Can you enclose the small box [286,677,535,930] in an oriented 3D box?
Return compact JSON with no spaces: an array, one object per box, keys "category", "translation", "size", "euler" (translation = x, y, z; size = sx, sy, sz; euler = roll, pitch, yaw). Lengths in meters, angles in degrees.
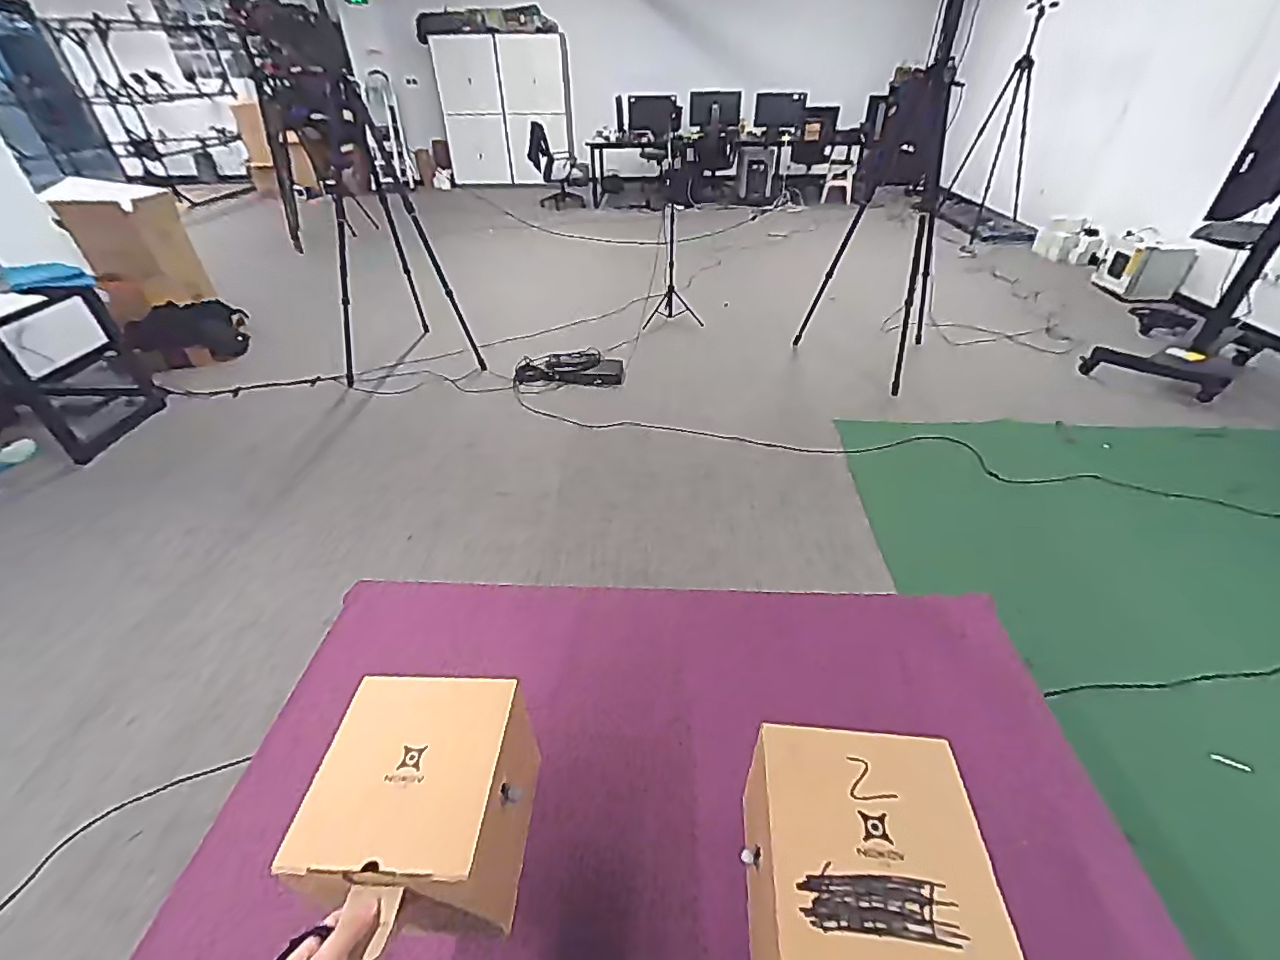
[{"category":"small box","translation":[-0.212,0.331,0.562],"size":[0.168,0.176,0.179],"euler":[0,39,3]}]
